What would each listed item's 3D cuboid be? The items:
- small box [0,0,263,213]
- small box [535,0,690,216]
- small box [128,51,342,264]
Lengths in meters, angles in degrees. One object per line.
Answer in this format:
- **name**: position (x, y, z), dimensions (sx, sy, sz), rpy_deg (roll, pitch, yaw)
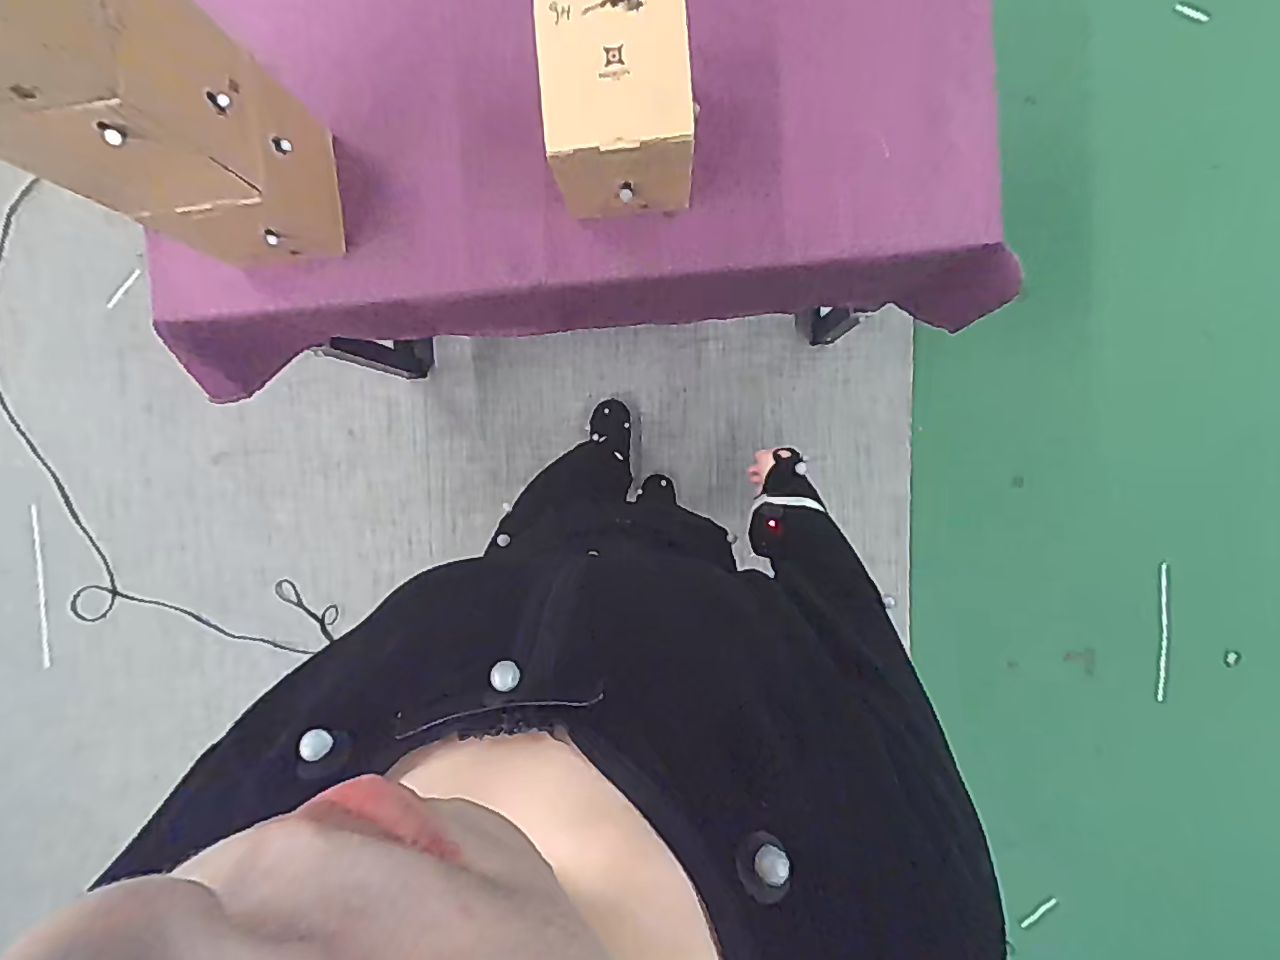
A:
- **small box**: position (-0.523, -0.387, 0.533), dimensions (0.179, 0.176, 0.168), rpy_deg (-7, 92, 1)
- **small box**: position (-0.025, -0.446, 0.669), dimensions (0.168, 0.176, 0.179), rpy_deg (-4, 93, 3)
- **small box**: position (-0.511, -0.393, 0.695), dimensions (0.168, 0.176, 0.179), rpy_deg (-5, 91, 2)
